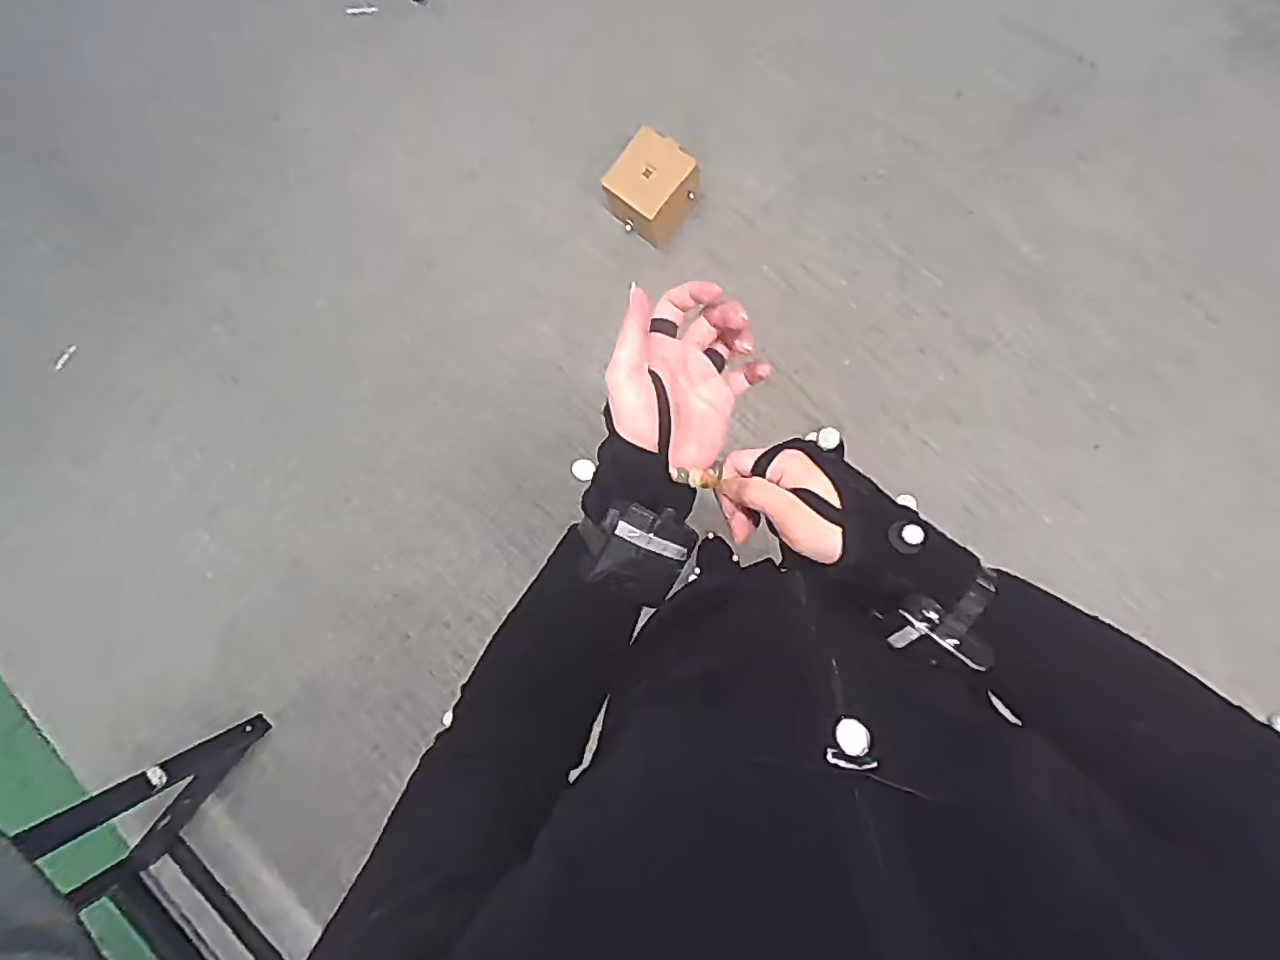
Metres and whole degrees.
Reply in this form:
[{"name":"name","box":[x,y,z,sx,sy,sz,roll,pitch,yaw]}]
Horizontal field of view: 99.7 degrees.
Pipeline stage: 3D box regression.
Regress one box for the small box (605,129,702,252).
[{"name":"small box","box":[0.040,-0.719,1.363,0.168,0.176,0.179,40,96,8]}]
